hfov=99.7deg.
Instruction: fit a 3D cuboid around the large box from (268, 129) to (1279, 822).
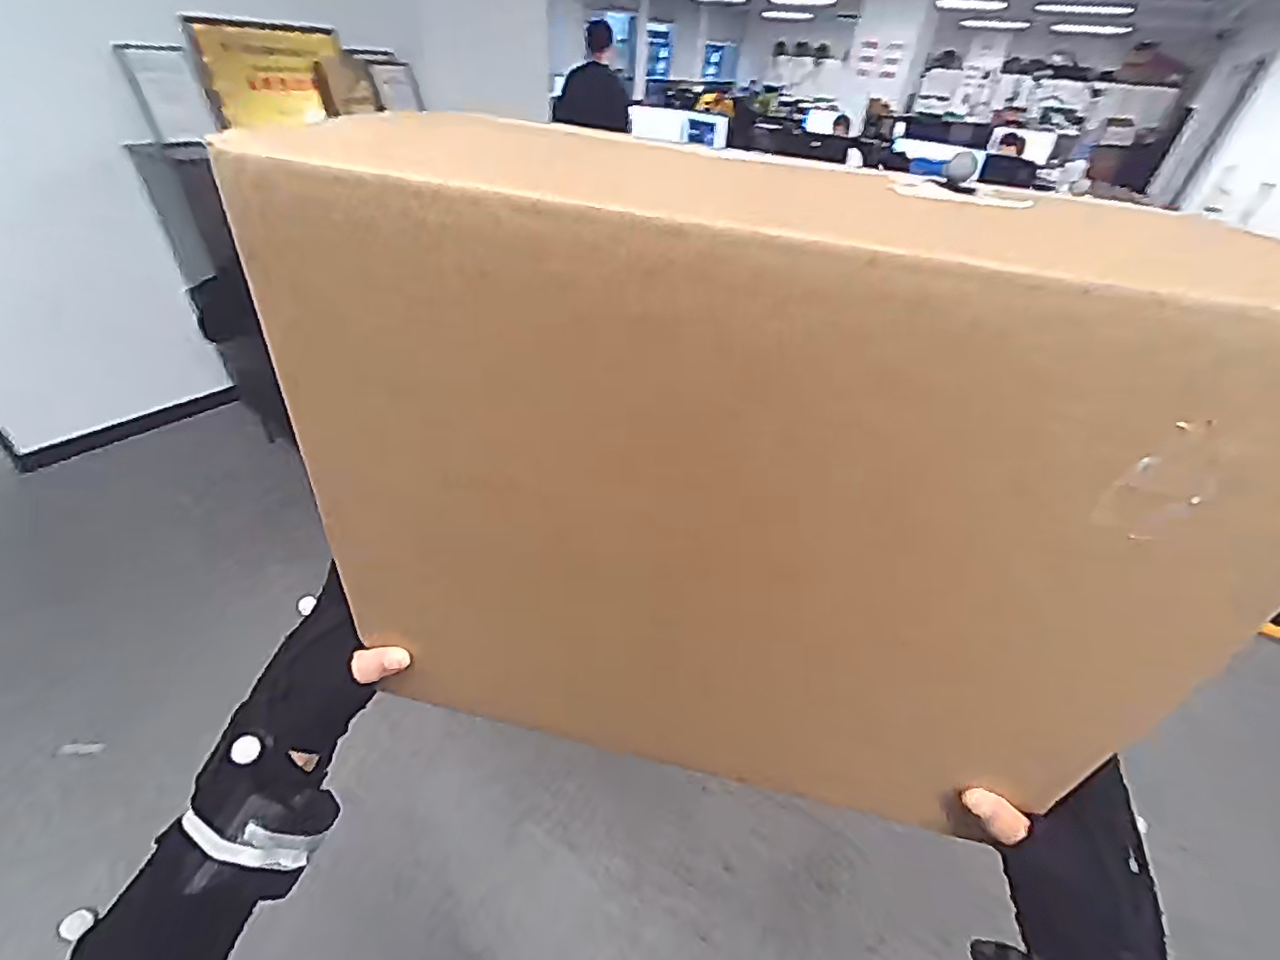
[{"bbox_3d":[0.068,-0.029,0.377,0.408,0.320,0.320,12,36,4],"label":"large box"}]
